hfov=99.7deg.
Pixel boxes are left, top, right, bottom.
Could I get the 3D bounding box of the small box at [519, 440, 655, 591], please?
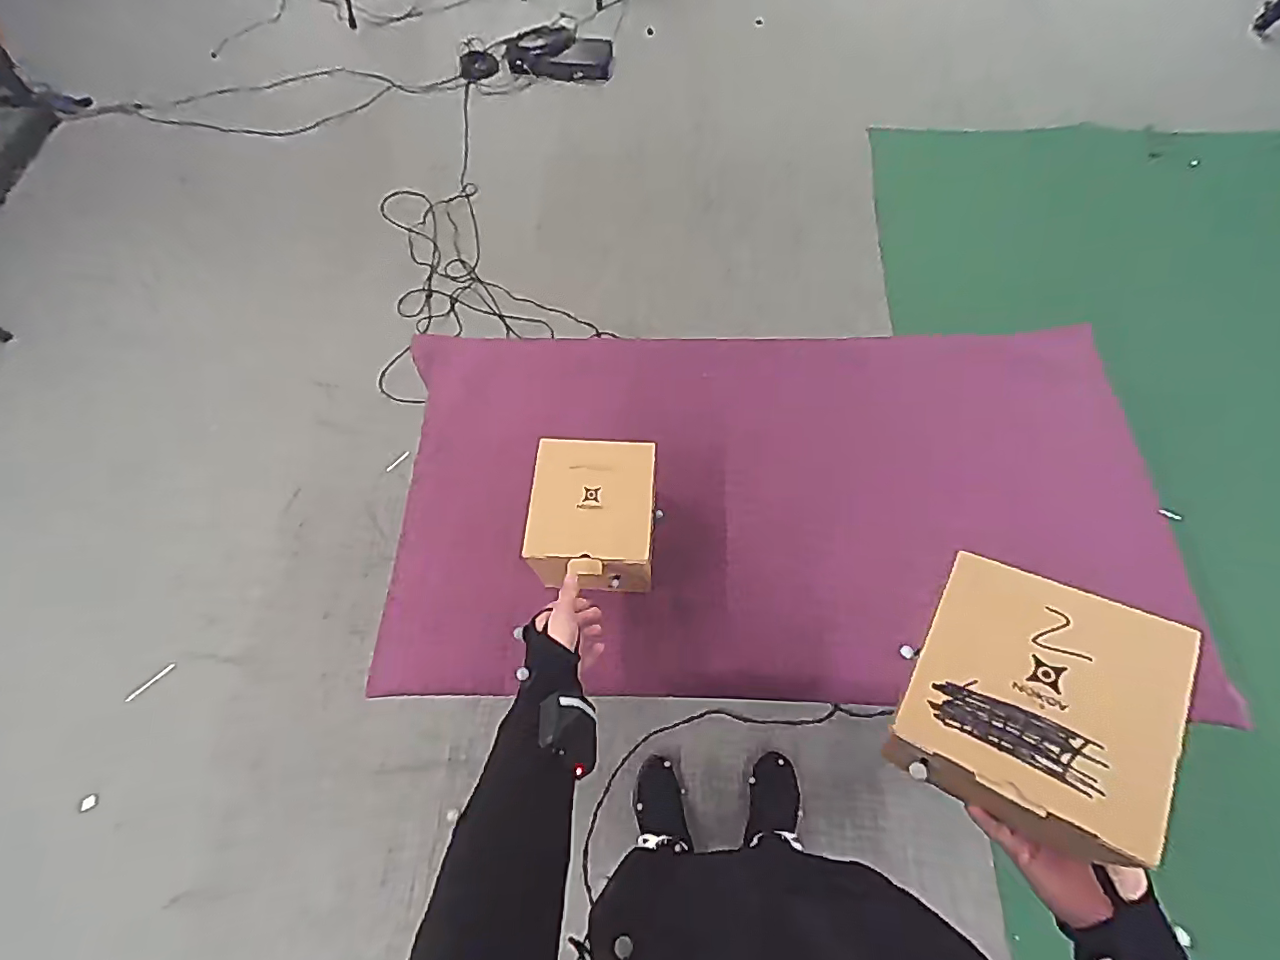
[{"bbox_3d":[-0.066,0.060,0.800,0.168,0.176,0.179,3,65,3],"label":"small box"}]
